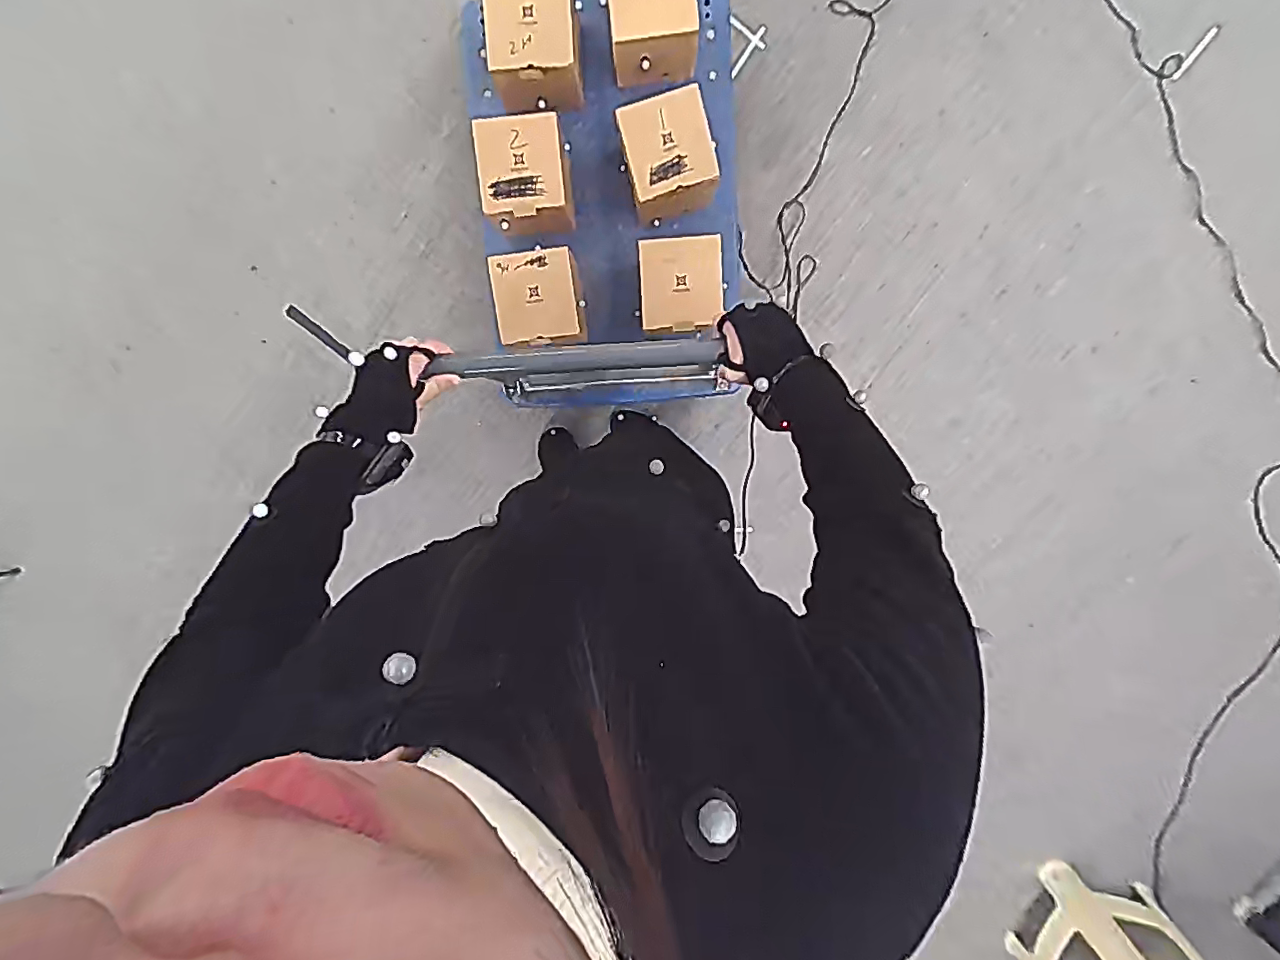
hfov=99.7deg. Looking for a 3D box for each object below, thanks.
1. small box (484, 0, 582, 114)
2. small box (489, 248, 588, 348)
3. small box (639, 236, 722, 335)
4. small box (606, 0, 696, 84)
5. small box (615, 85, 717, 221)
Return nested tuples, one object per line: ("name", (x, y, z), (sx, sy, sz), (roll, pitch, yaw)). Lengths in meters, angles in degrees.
("small box", (-0.210, -0.877, 1.091), (0.168, 0.176, 0.179), (-2, 100, 1))
("small box", (-0.212, -0.385, 1.174), (0.168, 0.176, 0.179), (-7, 100, 1))
("small box", (0.085, -0.409, 1.165), (0.168, 0.176, 0.179), (-3, 98, 1))
("small box", (0.019, -0.929, 1.081), (0.168, 0.176, 0.179), (-7, 99, 2))
("small box", (0.054, -0.662, 1.124), (0.168, 0.176, 0.179), (-15, 98, 3))
